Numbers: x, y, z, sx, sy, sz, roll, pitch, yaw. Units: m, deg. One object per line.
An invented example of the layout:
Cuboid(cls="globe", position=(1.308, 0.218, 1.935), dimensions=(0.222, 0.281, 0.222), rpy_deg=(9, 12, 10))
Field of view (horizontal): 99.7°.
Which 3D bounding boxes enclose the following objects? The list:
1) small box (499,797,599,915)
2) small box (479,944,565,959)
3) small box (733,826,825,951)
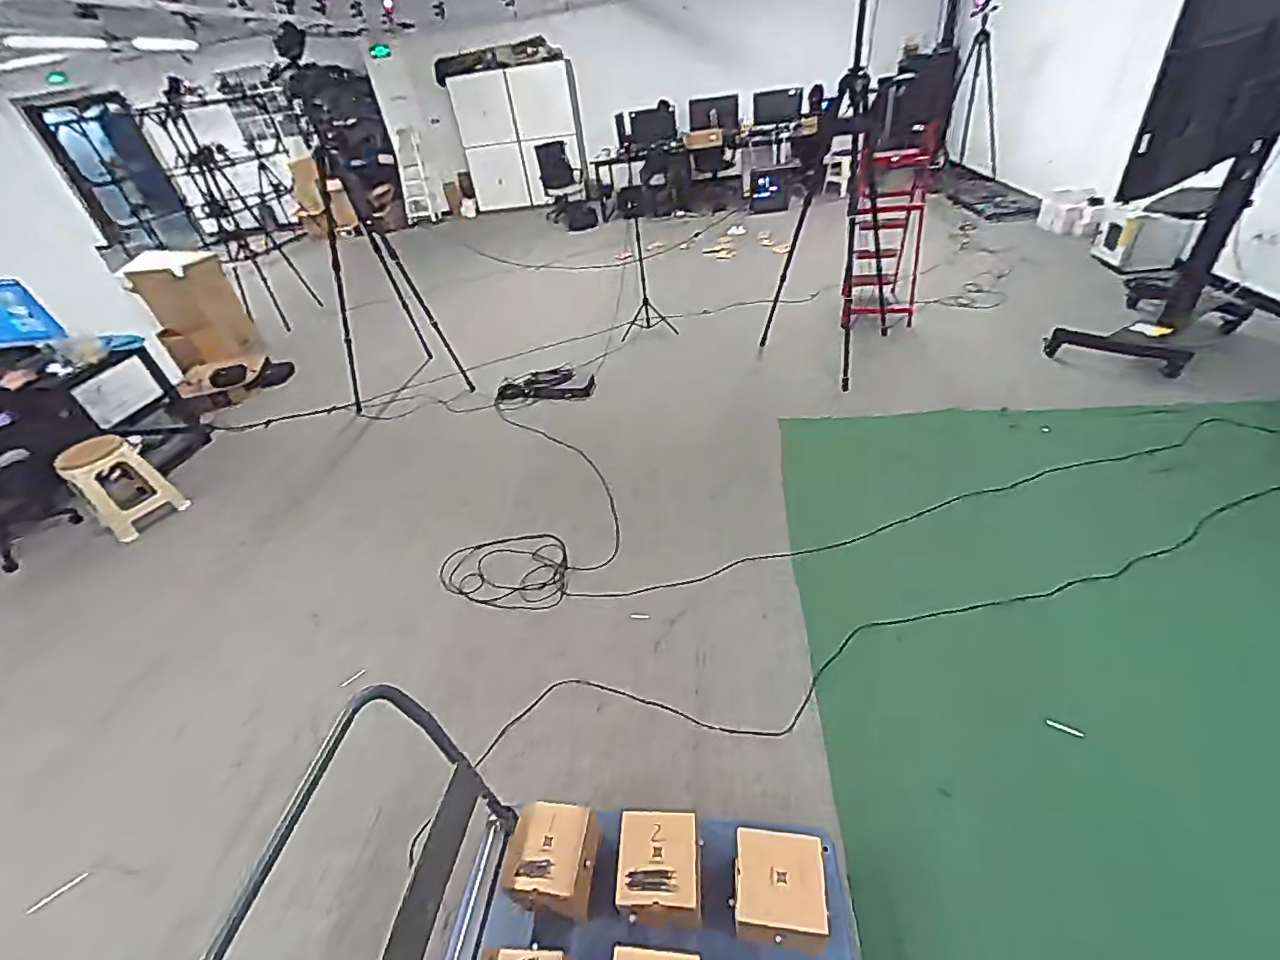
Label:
Cuboid(cls="small box", position=(-0.197, 0.864, 1.242), dimensions=(0.168, 0.176, 0.179), rpy_deg=(0, 38, 11))
Cuboid(cls="small box", position=(-0.226, 1.026, 1.037), dimensions=(0.168, 0.176, 0.179), rpy_deg=(-3, 38, 8))
Cuboid(cls="small box", position=(0.290, 0.864, 1.144), dimensions=(0.179, 0.176, 0.168), rpy_deg=(0, 39, 12))
